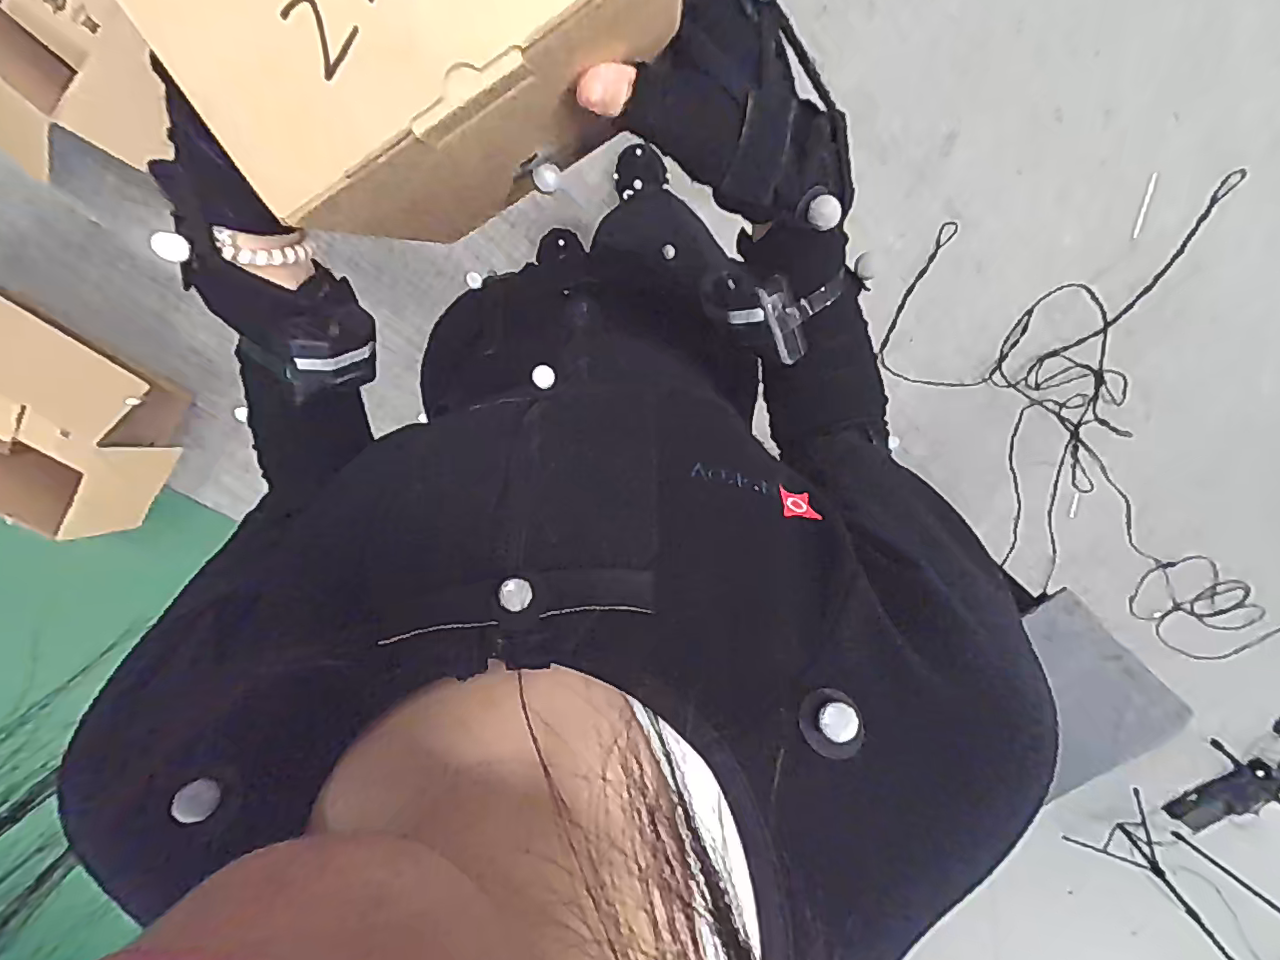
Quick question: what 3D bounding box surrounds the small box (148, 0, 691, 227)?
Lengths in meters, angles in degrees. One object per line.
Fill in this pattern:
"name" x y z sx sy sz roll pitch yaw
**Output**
"small box" -0.090 -0.231 0.224 0.168 0.176 0.179 -27 108 12
